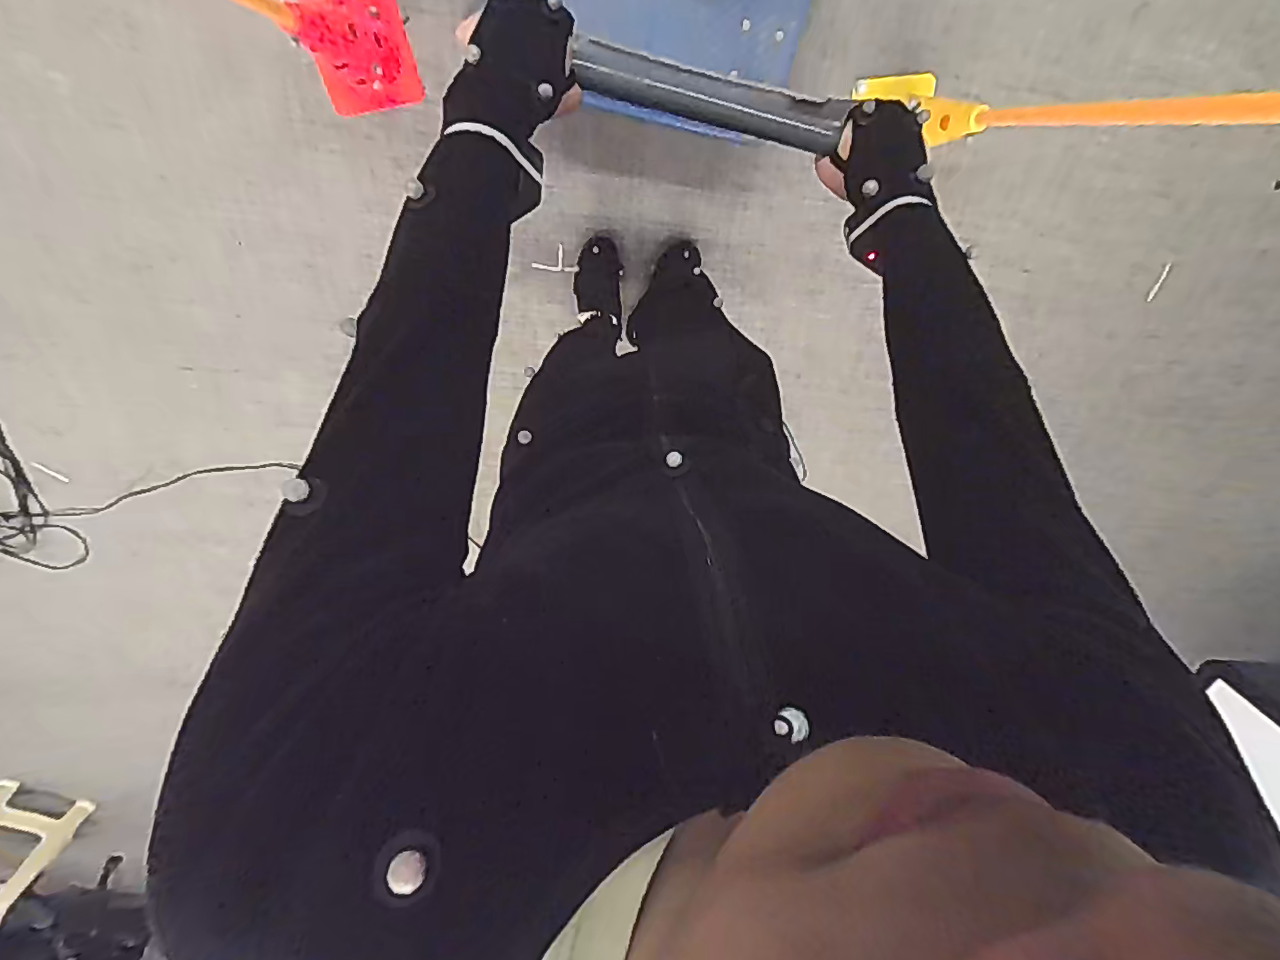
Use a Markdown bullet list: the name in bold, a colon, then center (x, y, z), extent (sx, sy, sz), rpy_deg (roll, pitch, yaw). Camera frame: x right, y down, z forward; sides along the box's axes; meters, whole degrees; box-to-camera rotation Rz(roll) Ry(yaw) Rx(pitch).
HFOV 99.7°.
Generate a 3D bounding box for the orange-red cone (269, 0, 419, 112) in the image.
- **orange-red cone**: center (-0.560, -0.796, 0.967), extent (0.199, 0.360, 0.198), rpy_deg (-10, 122, 0)
